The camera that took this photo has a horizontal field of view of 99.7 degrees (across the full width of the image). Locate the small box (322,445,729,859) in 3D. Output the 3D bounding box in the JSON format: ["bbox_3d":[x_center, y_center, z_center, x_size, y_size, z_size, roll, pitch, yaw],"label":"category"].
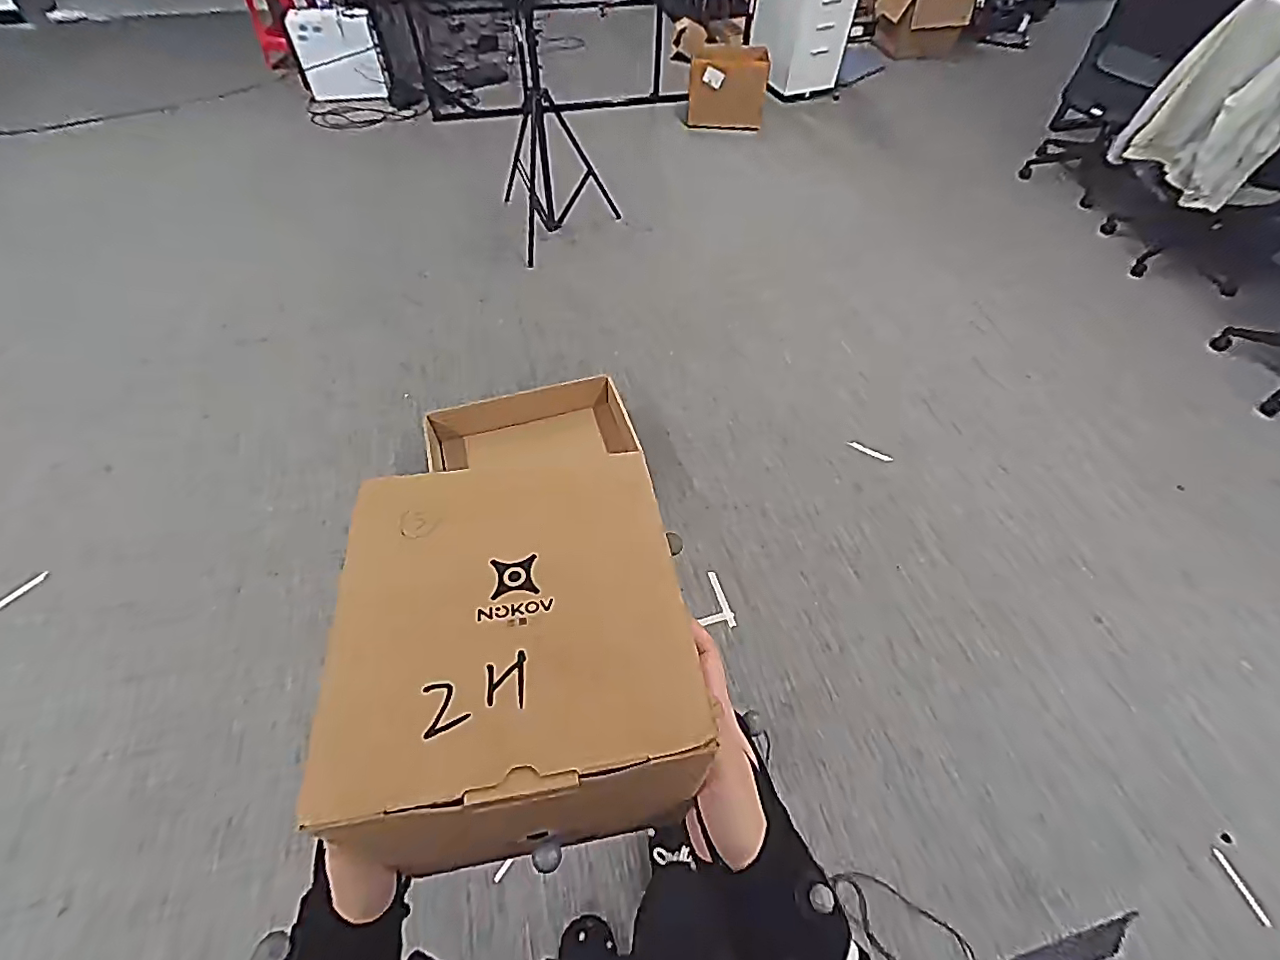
[{"bbox_3d":[-0.061,0.103,0.330,0.168,0.176,0.179,-7,50,-9],"label":"small box"}]
